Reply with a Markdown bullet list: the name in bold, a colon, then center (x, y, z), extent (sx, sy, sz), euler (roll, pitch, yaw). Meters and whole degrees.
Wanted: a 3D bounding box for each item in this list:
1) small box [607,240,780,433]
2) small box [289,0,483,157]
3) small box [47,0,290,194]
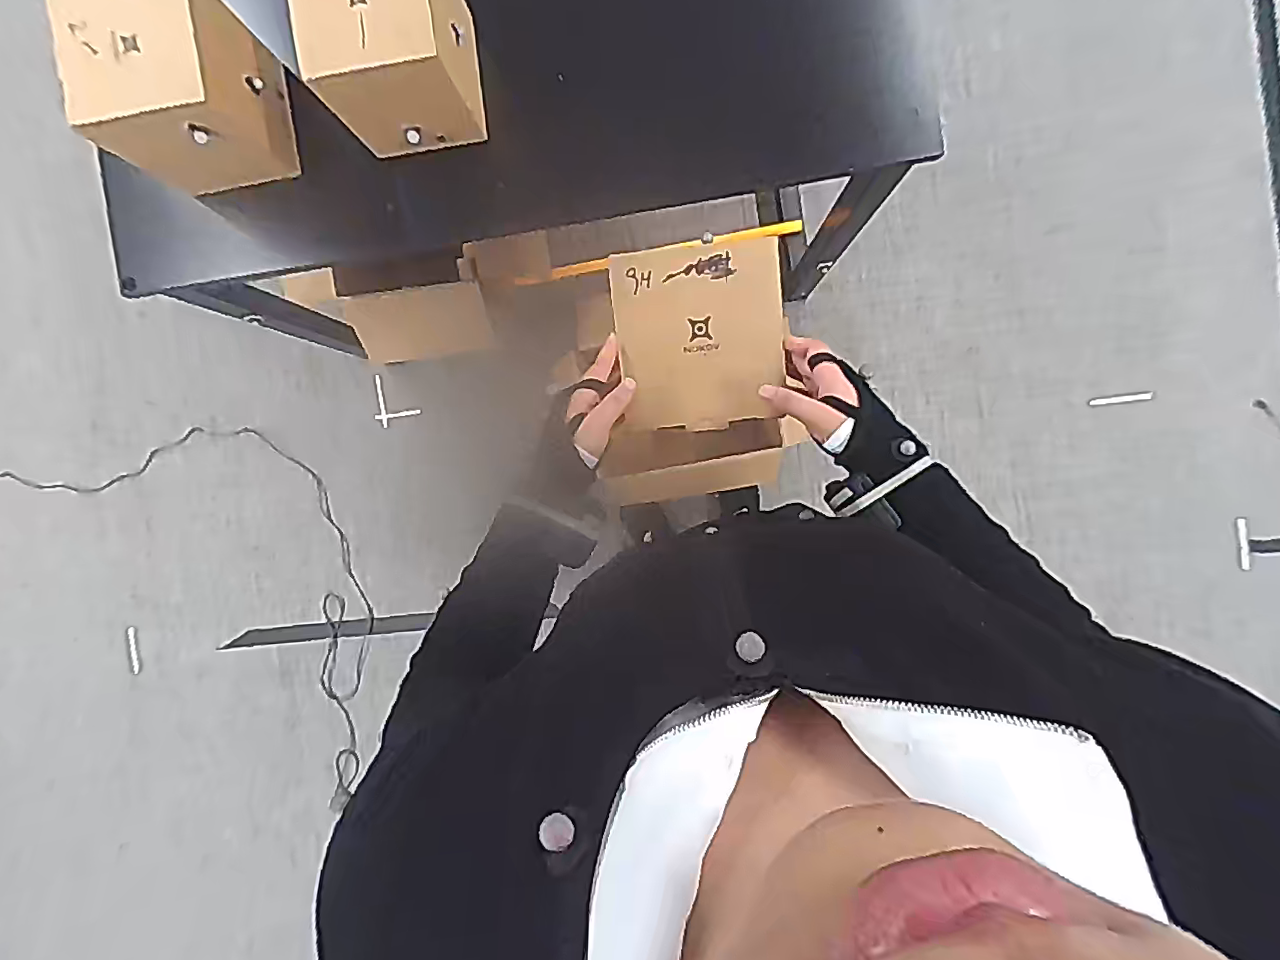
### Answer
- **small box**: center (0.057, -0.156, 0.617), extent (0.168, 0.176, 0.179), euler (-6, 101, 2)
- **small box**: center (-0.316, -0.557, 0.695), extent (0.168, 0.176, 0.179), euler (-7, 92, 4)
- **small box**: center (-0.596, -0.509, 0.712), extent (0.179, 0.176, 0.168), euler (-9, 91, 3)
